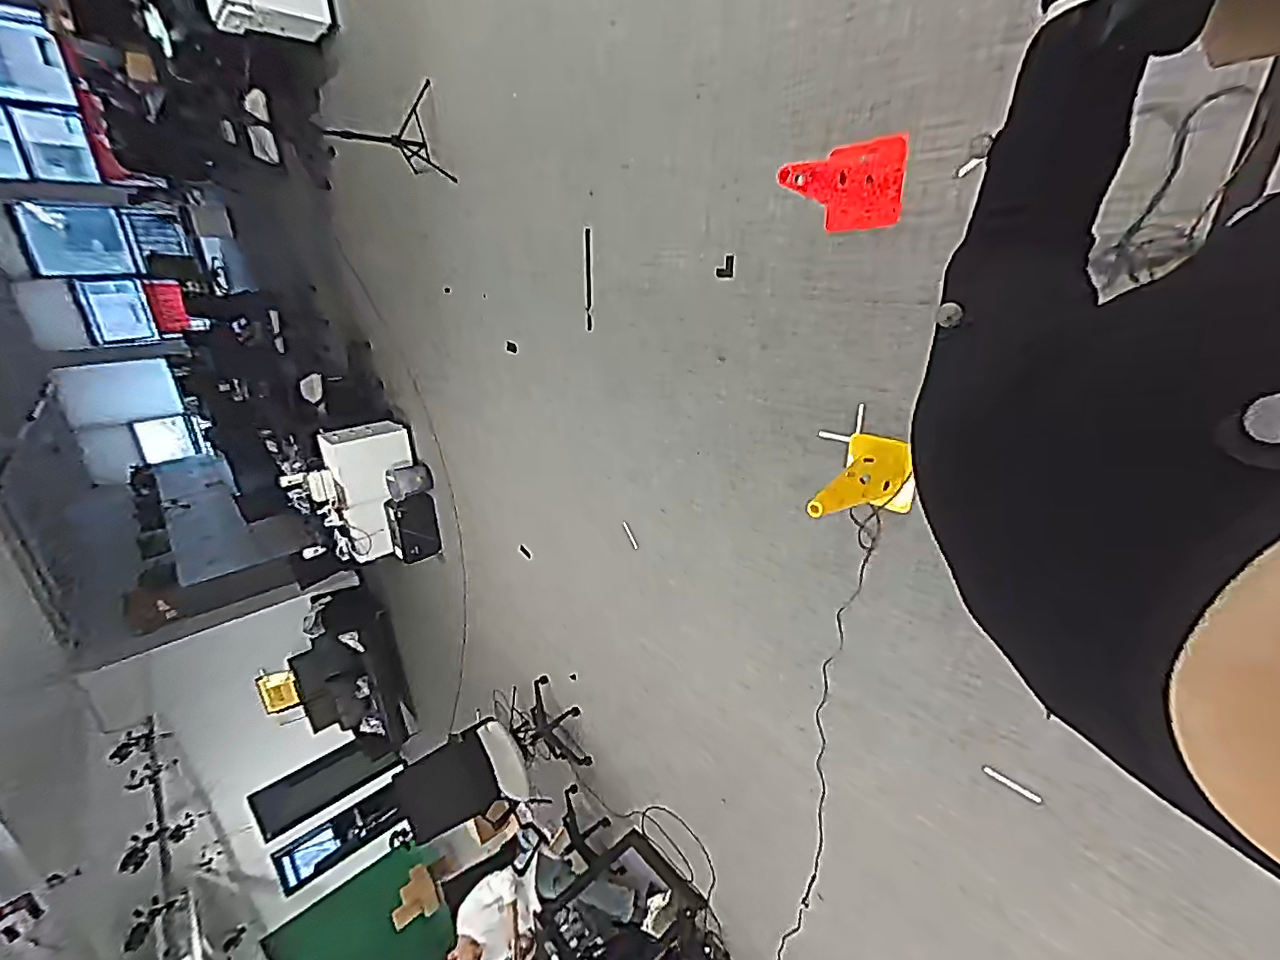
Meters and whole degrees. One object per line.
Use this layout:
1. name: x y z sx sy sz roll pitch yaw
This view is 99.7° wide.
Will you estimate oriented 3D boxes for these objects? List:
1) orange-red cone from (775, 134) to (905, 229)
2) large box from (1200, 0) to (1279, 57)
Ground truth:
1. orange-red cone: 0.435 -0.698 1.261 0.198 0.360 0.199 20 122 45
2. large box: 0.557 -0.451 0.228 0.408 0.320 0.320 18 121 43
